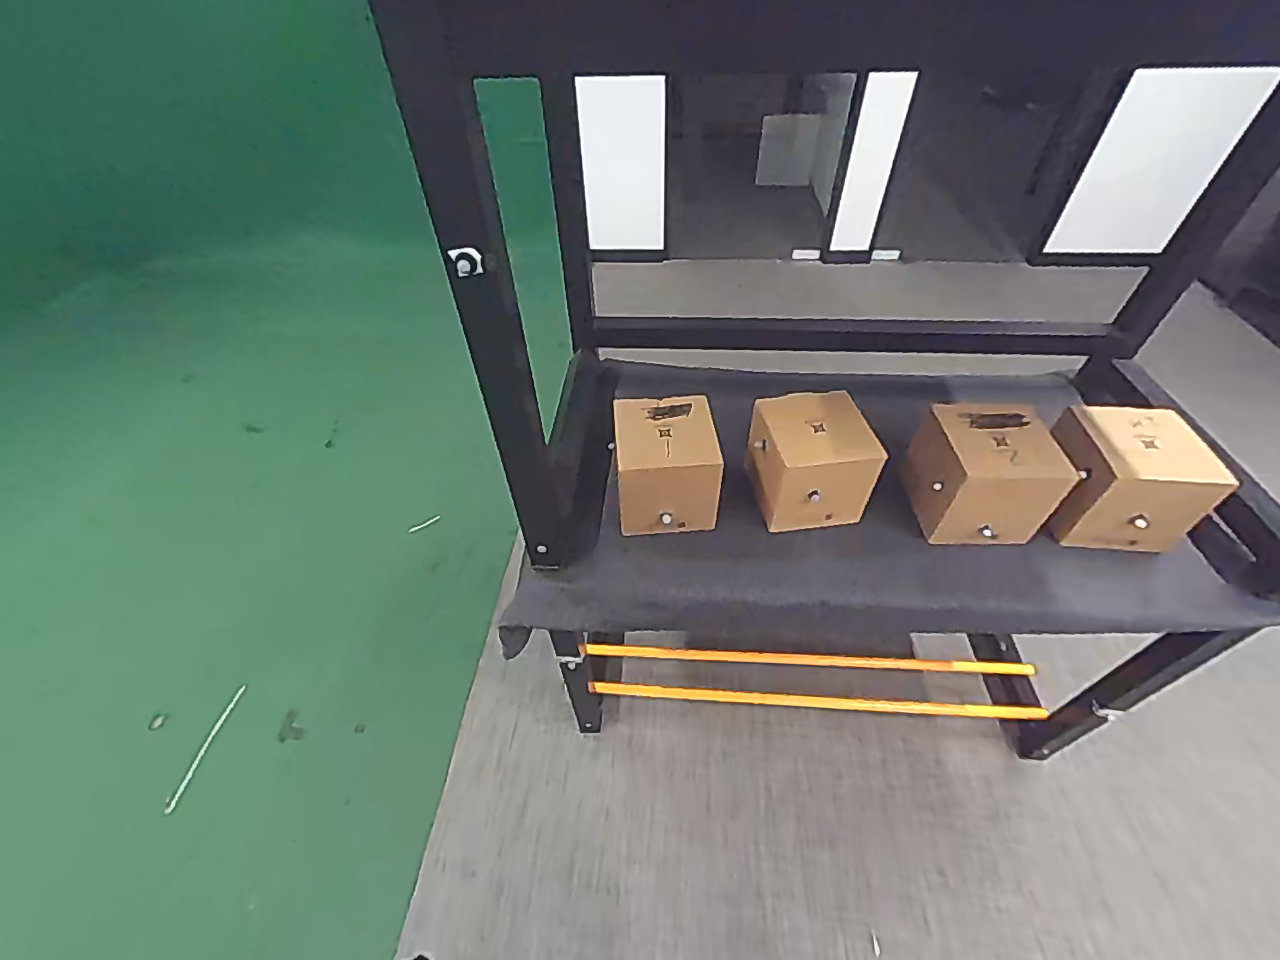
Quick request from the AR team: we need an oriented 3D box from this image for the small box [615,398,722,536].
[{"bbox_3d":[0.043,-0.023,0.950,0.168,0.176,0.179,-4,47,-2],"label":"small box"}]
